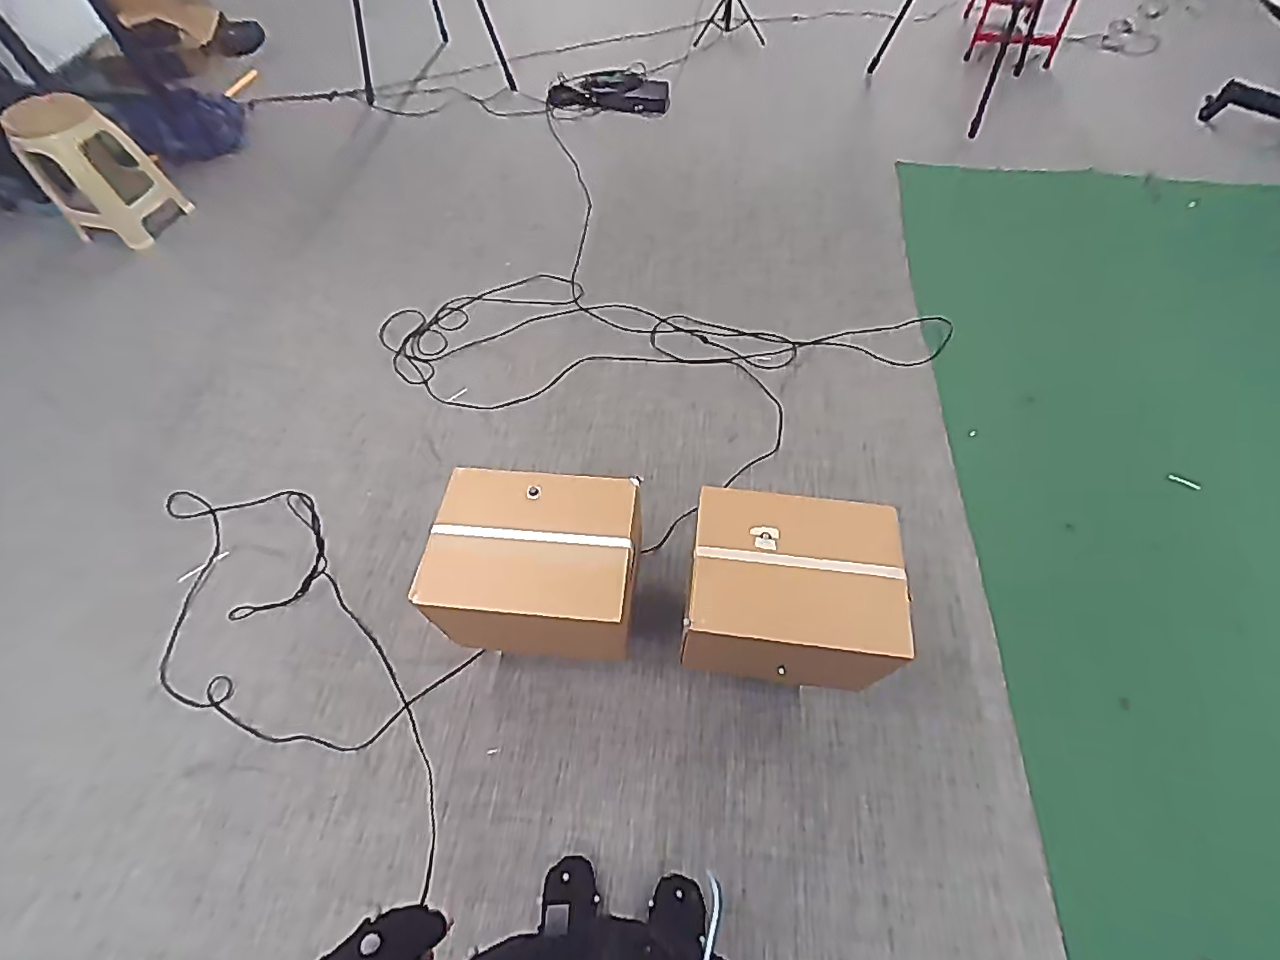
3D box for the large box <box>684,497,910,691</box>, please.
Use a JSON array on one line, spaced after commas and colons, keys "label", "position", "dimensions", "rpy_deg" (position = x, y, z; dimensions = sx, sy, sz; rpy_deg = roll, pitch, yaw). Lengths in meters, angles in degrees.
[{"label": "large box", "position": [0.315, 0.260, 1.192], "dimensions": [0.408, 0.320, 0.320], "rpy_deg": [6, 58, 6]}]
